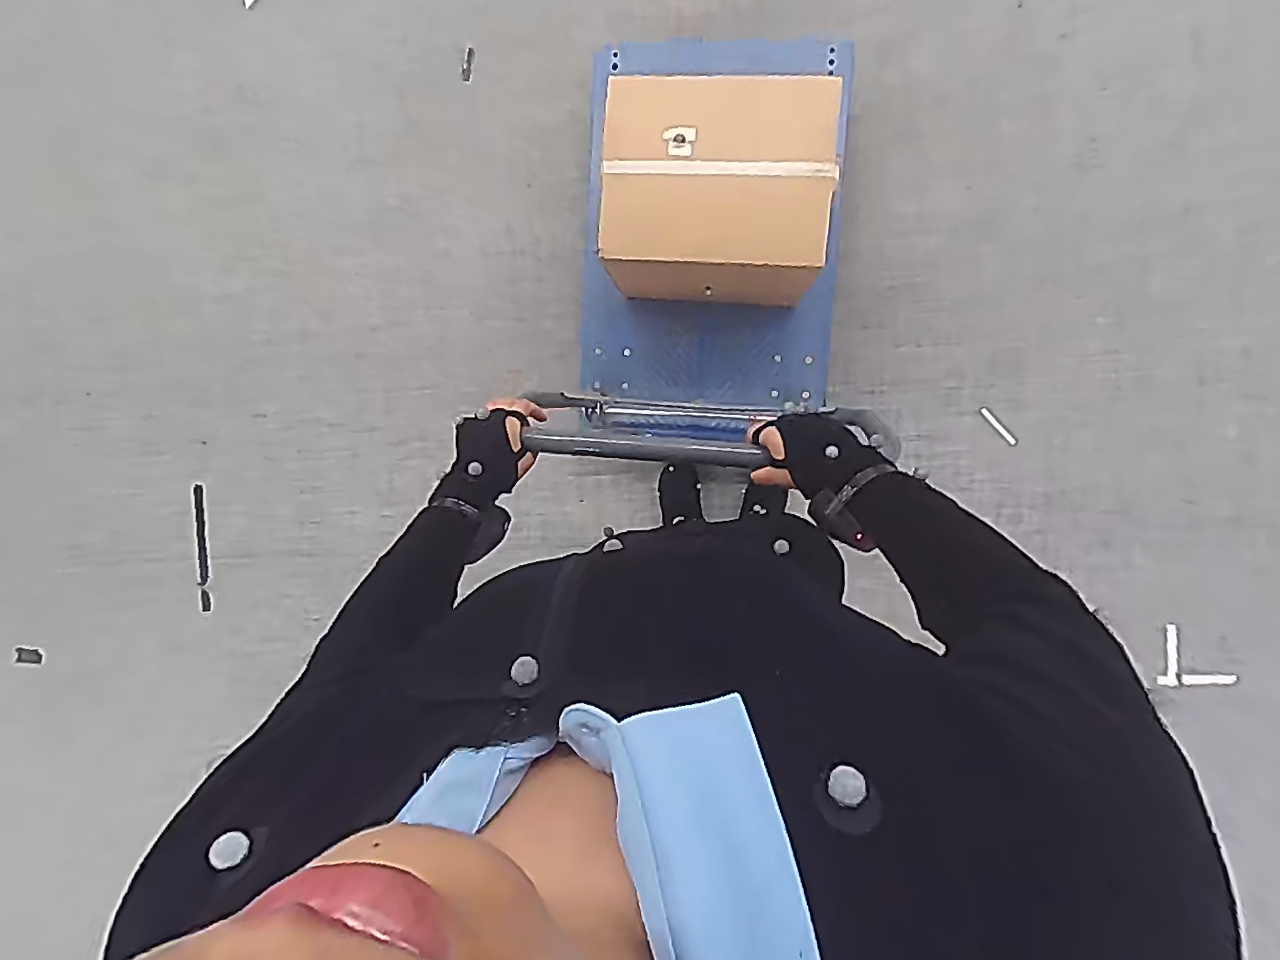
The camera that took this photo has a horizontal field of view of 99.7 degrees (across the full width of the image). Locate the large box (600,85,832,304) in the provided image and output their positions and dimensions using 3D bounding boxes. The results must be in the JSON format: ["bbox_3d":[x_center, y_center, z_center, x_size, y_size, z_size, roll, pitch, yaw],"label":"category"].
[{"bbox_3d":[0.151,-0.555,1.117,0.408,0.320,0.320,5,95,8],"label":"large box"}]
